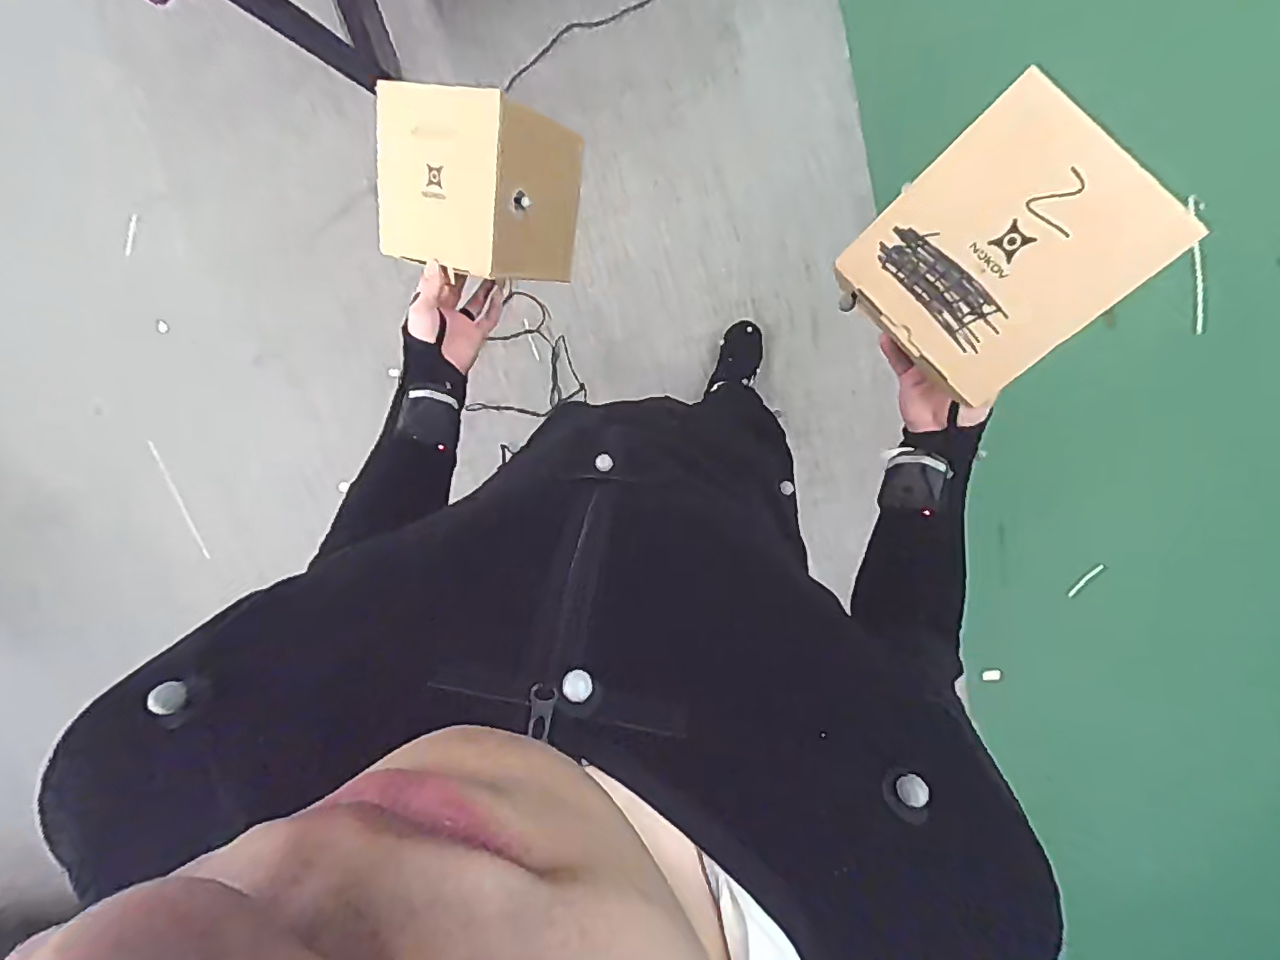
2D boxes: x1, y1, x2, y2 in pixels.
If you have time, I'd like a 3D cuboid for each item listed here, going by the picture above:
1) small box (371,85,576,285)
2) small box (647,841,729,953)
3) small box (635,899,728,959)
[{"bbox_3d":[-0.193,-0.339,0.648,0.168,0.176,0.179,18,113,19],"label":"small box"},{"bbox_3d":[0.128,1.053,1.361,0.168,0.176,0.179,-12,100,13],"label":"small box"},{"bbox_3d":[0.098,1.086,1.206,0.168,0.176,0.179,-12,99,13],"label":"small box"}]
